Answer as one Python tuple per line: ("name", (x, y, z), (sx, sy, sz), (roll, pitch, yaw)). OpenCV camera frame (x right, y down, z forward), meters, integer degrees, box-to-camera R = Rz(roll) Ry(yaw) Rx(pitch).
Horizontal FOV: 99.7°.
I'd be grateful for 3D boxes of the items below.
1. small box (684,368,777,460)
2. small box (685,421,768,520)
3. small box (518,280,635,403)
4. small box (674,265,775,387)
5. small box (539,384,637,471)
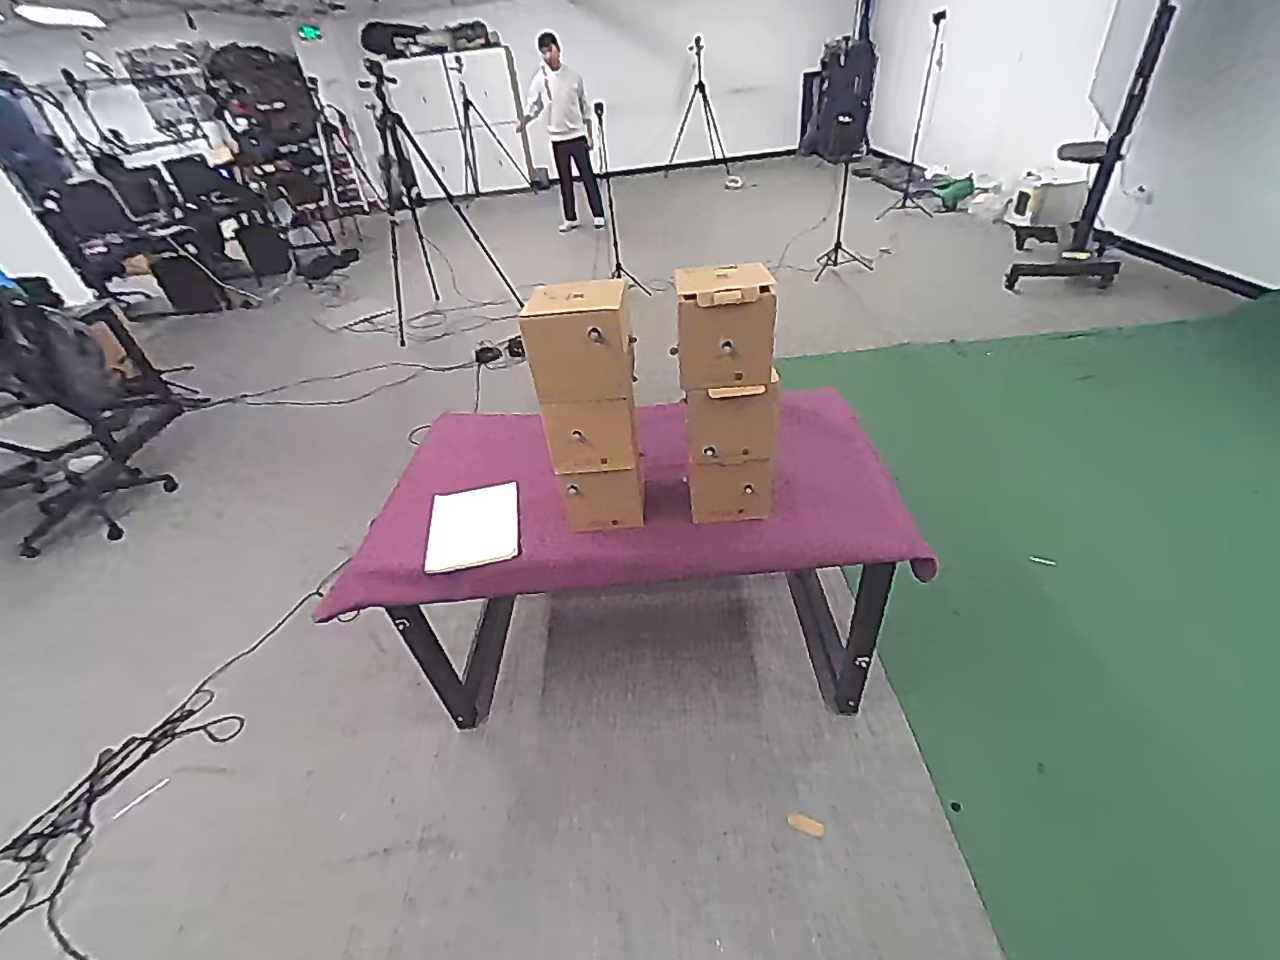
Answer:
("small box", (0.177, -0.150, 1.098), (0.168, 0.176, 0.179), (-4, 36, 2))
("small box", (0.188, -0.023, 1.200), (0.168, 0.176, 0.179), (-3, 36, 4))
("small box", (-0.106, -0.257, 1.008), (0.179, 0.176, 0.168), (-3, 36, 6))
("small box", (0.150, -0.281, 1.000), (0.168, 0.176, 0.179), (-2, 38, 4))
("small box", (-0.098, -0.128, 1.113), (0.168, 0.176, 0.179), (-4, 36, 4))
